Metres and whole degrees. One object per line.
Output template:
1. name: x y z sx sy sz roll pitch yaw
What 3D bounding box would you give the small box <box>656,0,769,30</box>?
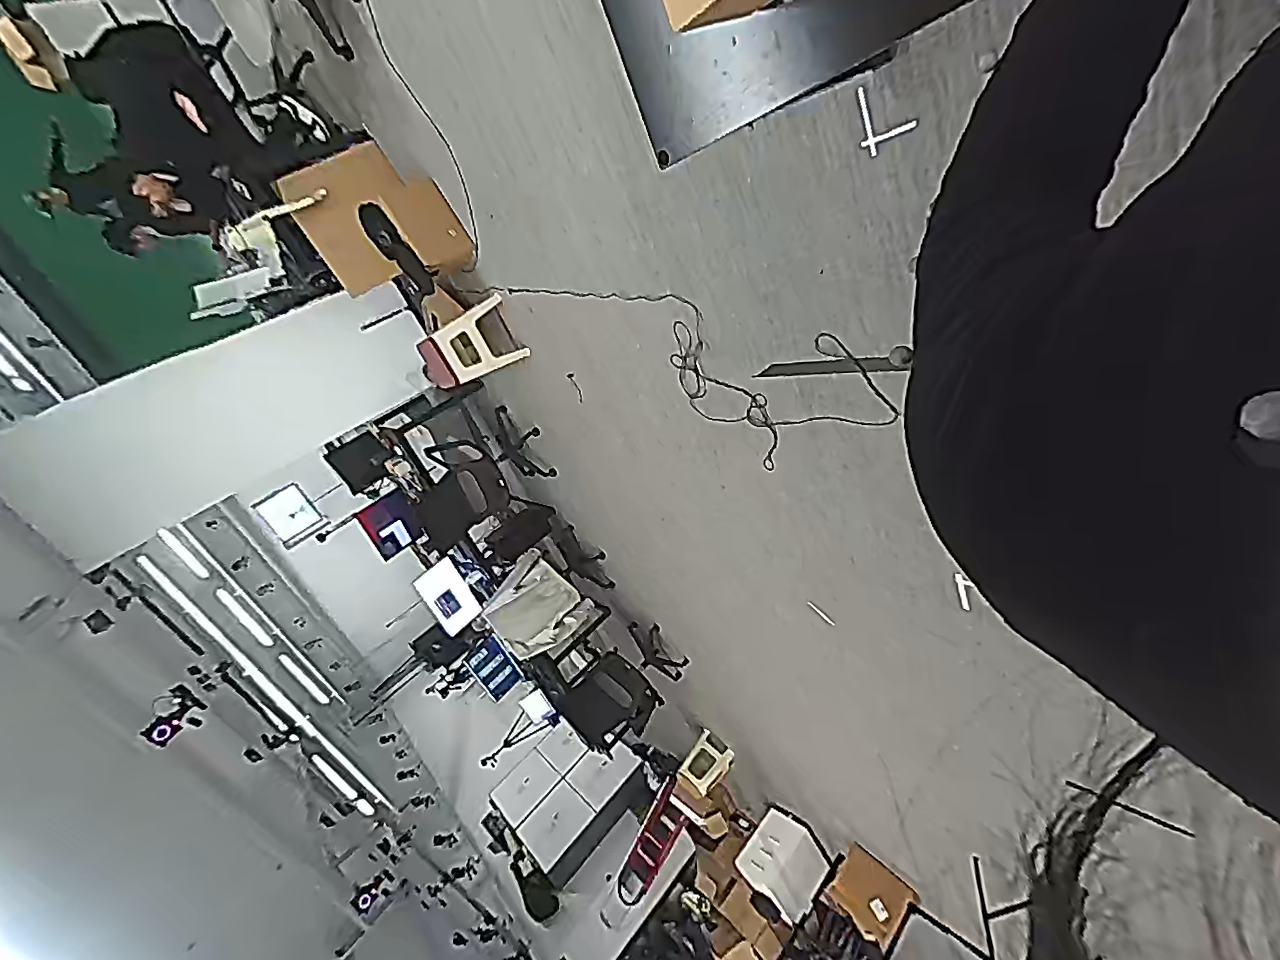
1. small box: 0.104 -0.611 0.547 0.168 0.176 0.179 10 133 53
